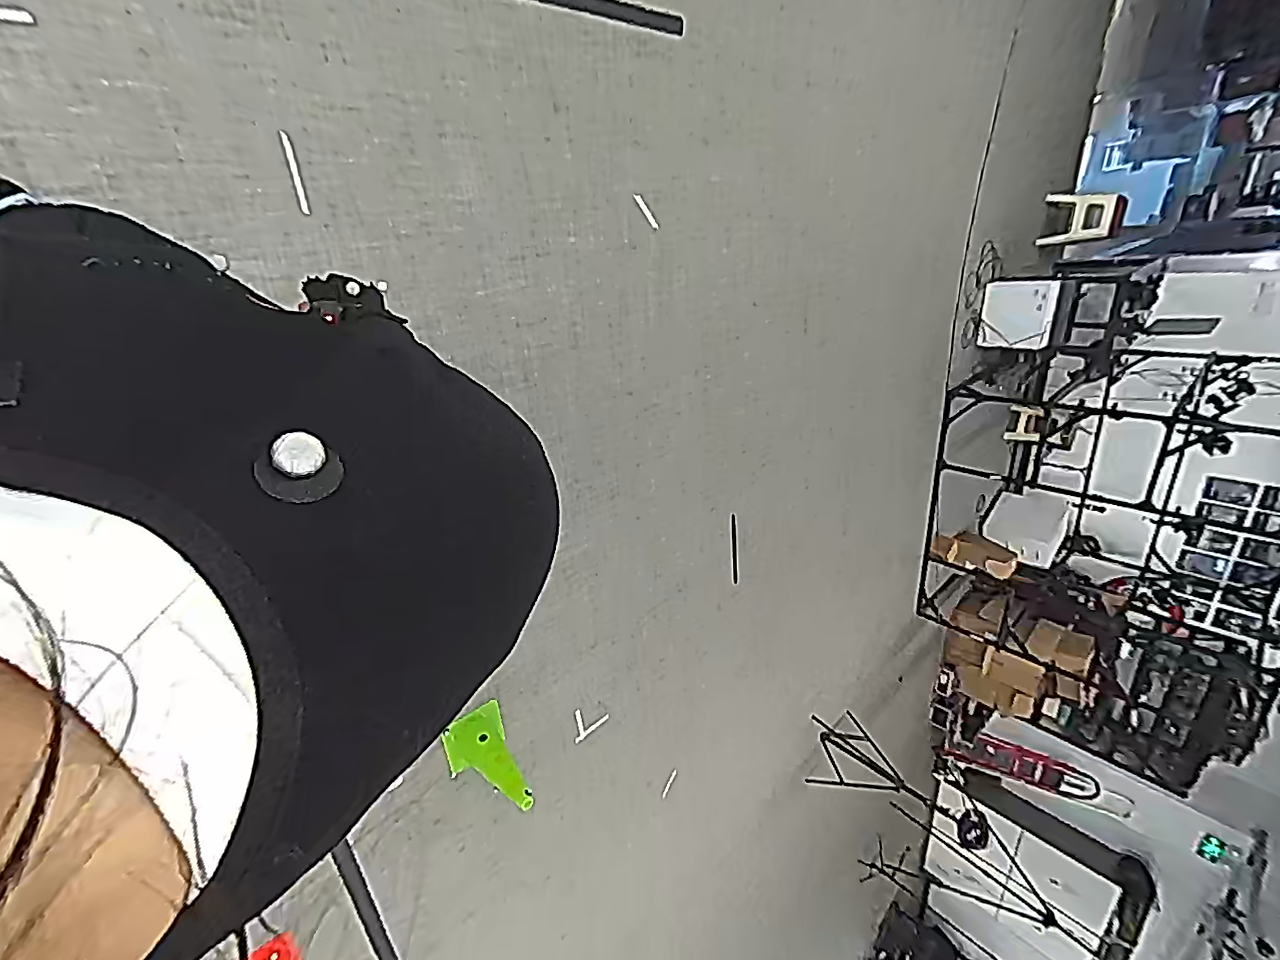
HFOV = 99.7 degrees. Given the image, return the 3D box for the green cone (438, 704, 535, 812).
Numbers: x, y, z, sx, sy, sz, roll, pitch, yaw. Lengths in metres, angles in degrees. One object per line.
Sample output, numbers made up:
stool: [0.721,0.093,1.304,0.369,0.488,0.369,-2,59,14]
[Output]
green cone: [-0.448,0.912,1.690,0.202,0.368,0.200,-23,119,-38]

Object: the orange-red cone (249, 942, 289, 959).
orange-red cone: [-0.973,1.451,1.379,0.199,0.360,0.198,-17,114,-38]

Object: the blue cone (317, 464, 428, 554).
blue cone: [-0.608,0.103,1.284,0.192,0.380,0.193,-19,117,-39]
